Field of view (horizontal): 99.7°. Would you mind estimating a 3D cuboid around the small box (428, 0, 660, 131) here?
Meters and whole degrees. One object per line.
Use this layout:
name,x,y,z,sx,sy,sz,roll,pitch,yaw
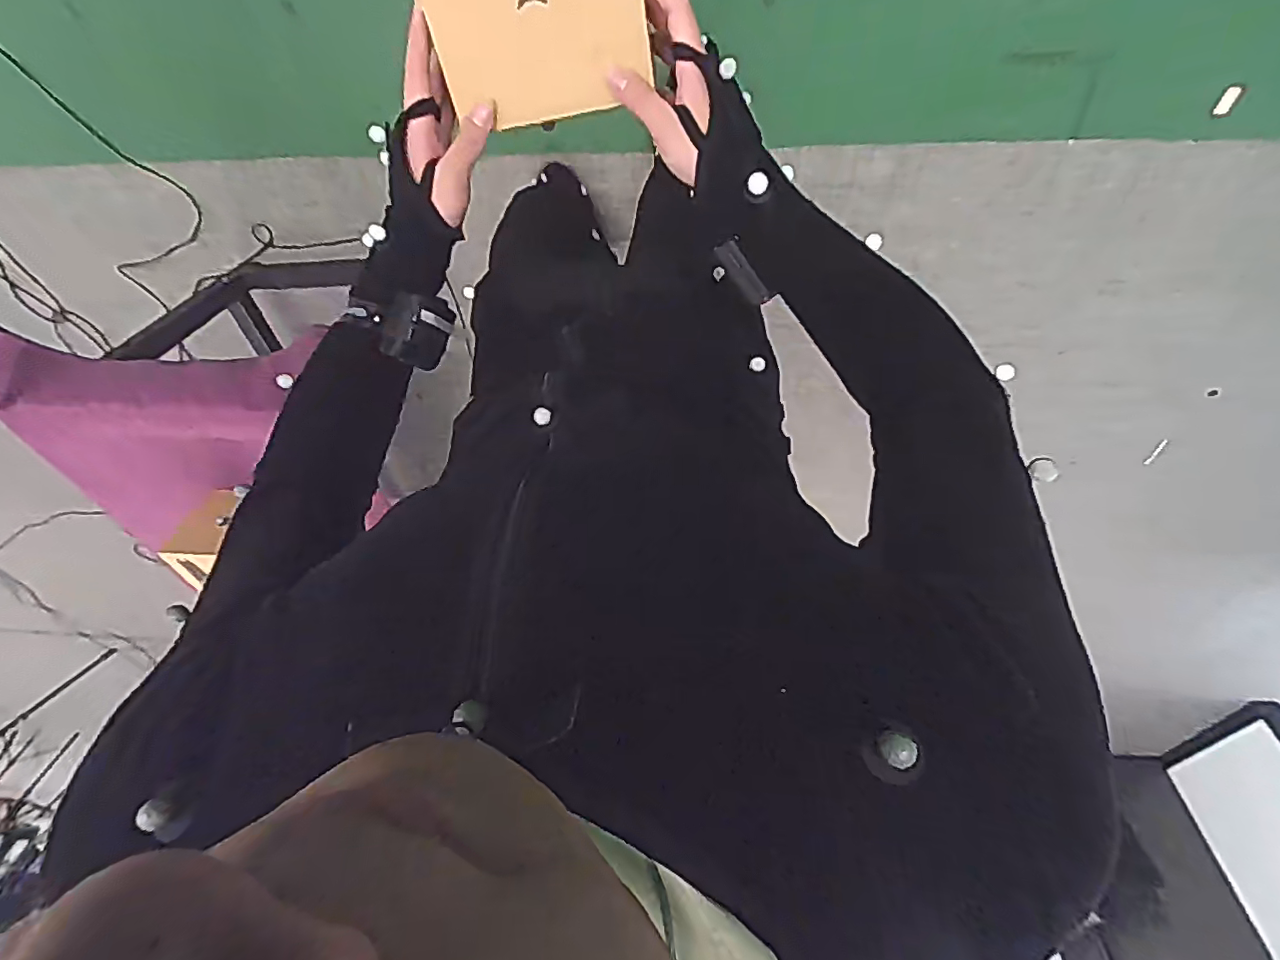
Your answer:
small box,-0.074,-0.415,0.445,0.168,0.176,0.179,-7,130,6
